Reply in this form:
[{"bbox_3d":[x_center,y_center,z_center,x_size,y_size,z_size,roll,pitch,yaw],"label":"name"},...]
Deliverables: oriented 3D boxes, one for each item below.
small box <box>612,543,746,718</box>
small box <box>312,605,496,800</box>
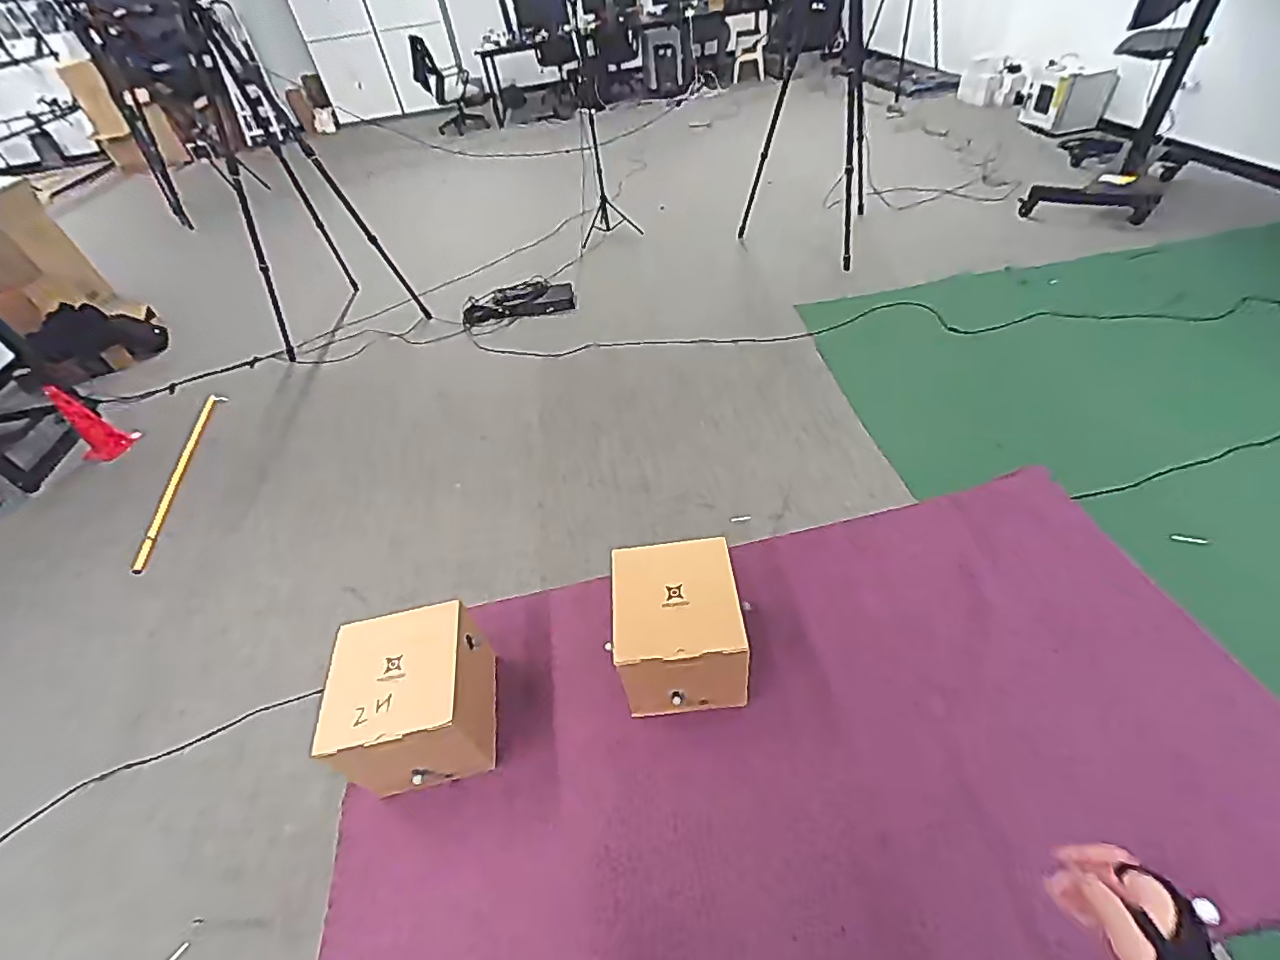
[{"bbox_3d":[0.052,0.215,0.770,0.168,0.176,0.179,-7,46,3],"label":"small box"},{"bbox_3d":[-0.303,0.304,0.739,0.168,0.176,0.179,-13,45,-3],"label":"small box"}]
